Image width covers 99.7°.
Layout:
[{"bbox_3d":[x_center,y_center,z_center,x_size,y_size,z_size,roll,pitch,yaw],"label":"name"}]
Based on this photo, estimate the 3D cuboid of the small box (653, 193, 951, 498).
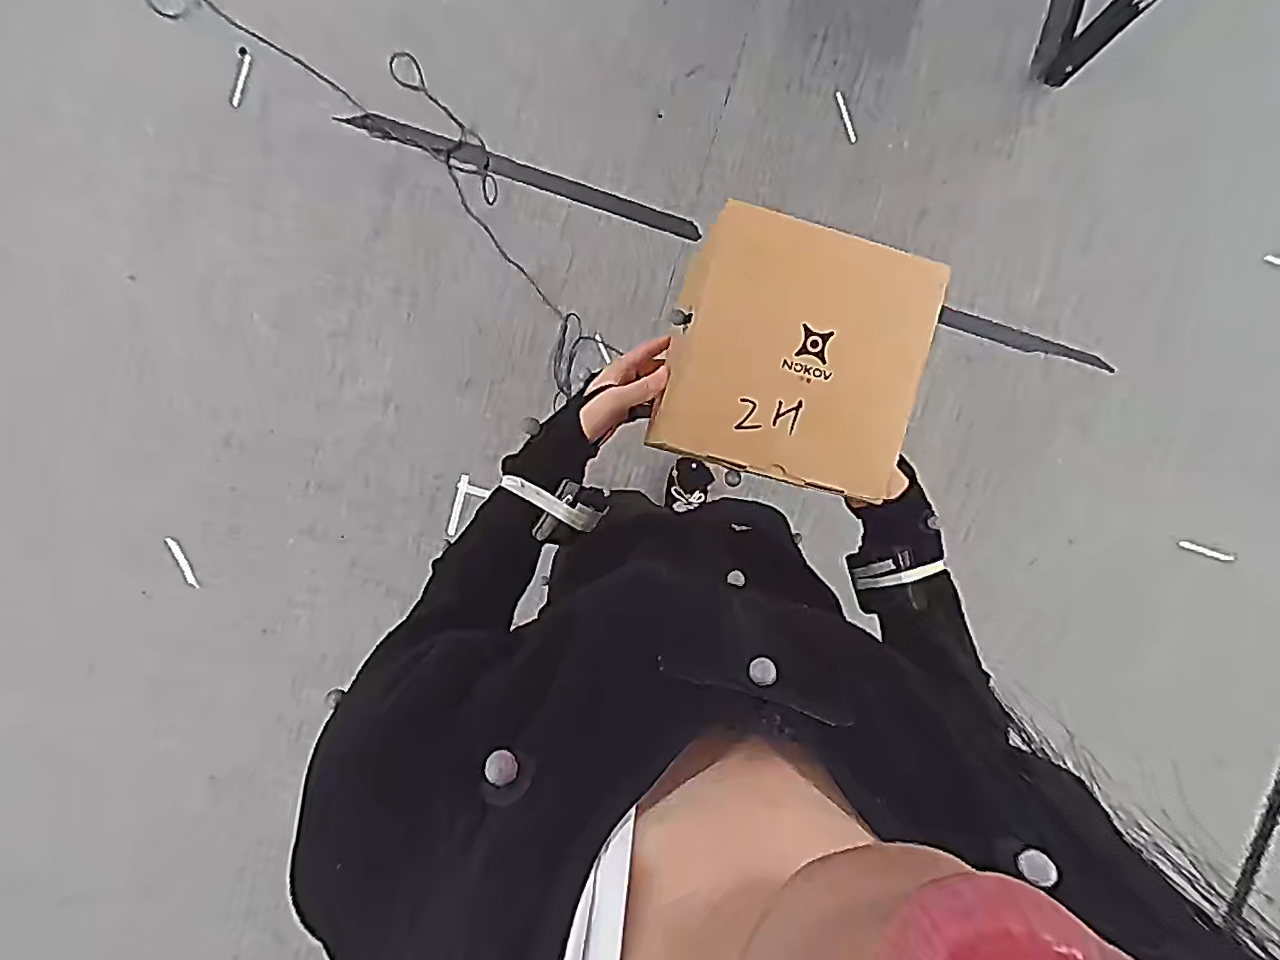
[{"bbox_3d":[0.113,-0.096,0.453,0.168,0.176,0.179,14,93,-5],"label":"small box"}]
